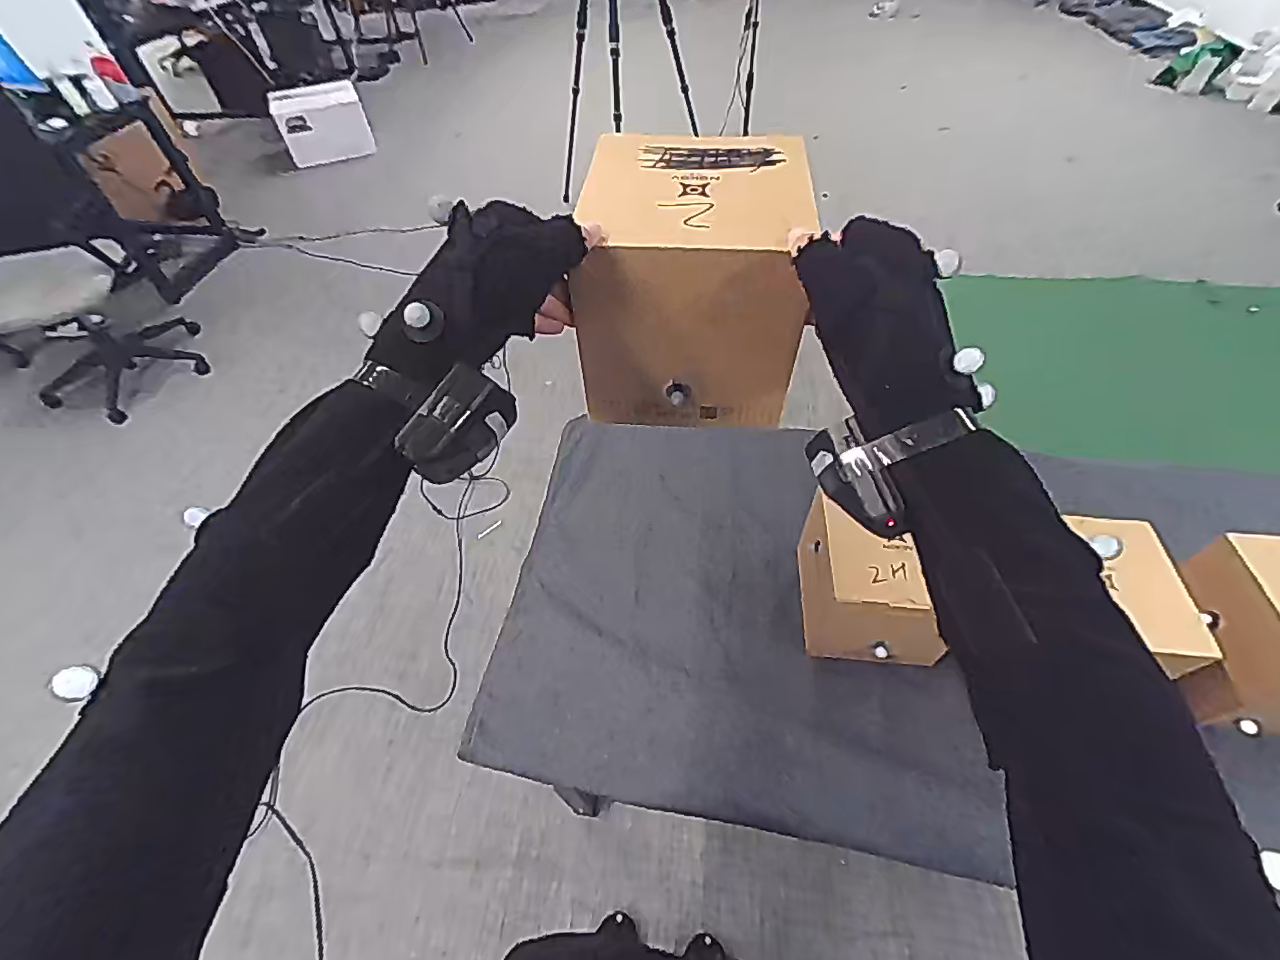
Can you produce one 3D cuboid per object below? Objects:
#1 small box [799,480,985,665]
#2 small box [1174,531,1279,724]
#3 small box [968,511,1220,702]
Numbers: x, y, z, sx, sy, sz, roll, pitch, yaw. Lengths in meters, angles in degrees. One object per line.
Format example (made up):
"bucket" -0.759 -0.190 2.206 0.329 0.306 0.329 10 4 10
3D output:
"small box" 0.312 0.123 0.716 0.168 0.176 0.179 3 51 6
"small box" 0.766 0.182 0.640 0.168 0.176 0.179 3 50 6
"small box" 0.529 0.161 0.675 0.168 0.176 0.179 4 50 7
